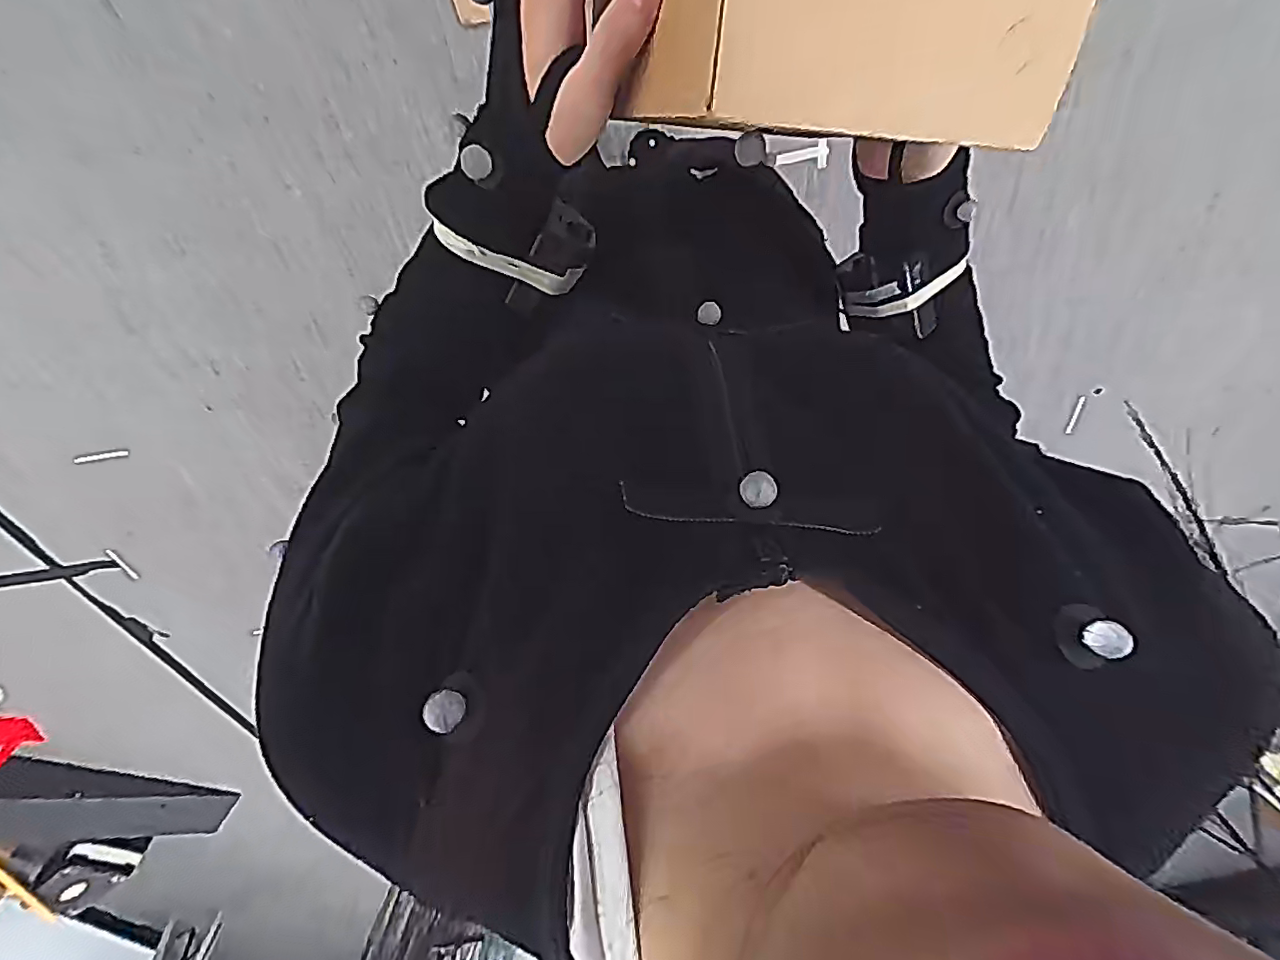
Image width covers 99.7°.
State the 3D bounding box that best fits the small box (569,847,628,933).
[{"bbox_3d":[-0.127,1.264,1.671,0.168,0.176,0.179,-5,128,-4],"label":"small box"}]

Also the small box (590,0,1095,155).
[{"bbox_3d":[0.077,-0.251,0.233,0.168,0.176,0.179,-7,124,-18],"label":"small box"}]
